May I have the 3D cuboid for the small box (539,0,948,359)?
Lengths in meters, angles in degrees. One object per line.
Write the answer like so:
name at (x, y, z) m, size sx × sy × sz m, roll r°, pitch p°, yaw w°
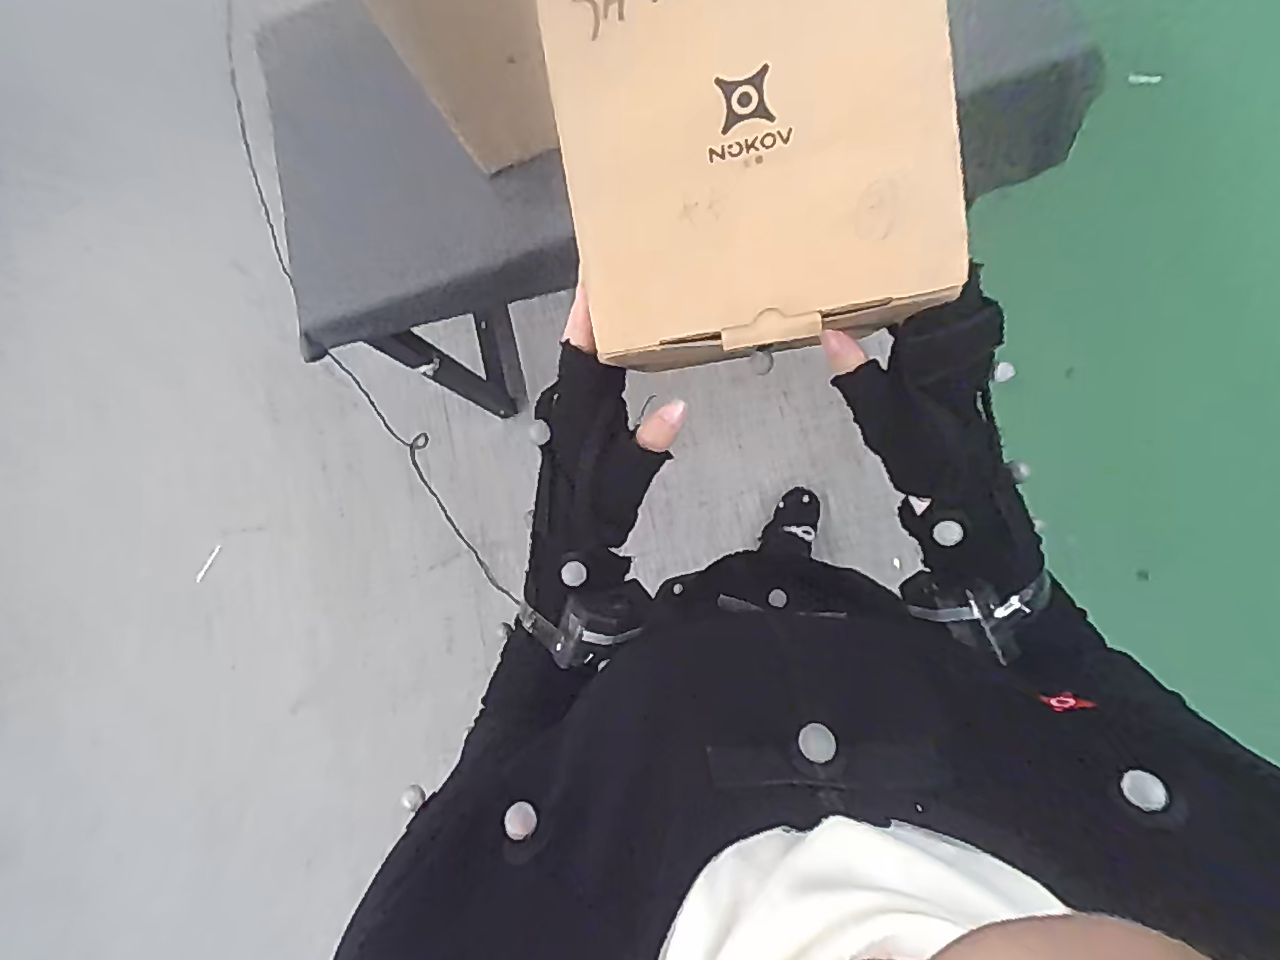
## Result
small box at (0.058, -0.170, 0.317) m, size 0.168 × 0.176 × 0.179 m, roll -8°, pitch 99°, yaw 10°
